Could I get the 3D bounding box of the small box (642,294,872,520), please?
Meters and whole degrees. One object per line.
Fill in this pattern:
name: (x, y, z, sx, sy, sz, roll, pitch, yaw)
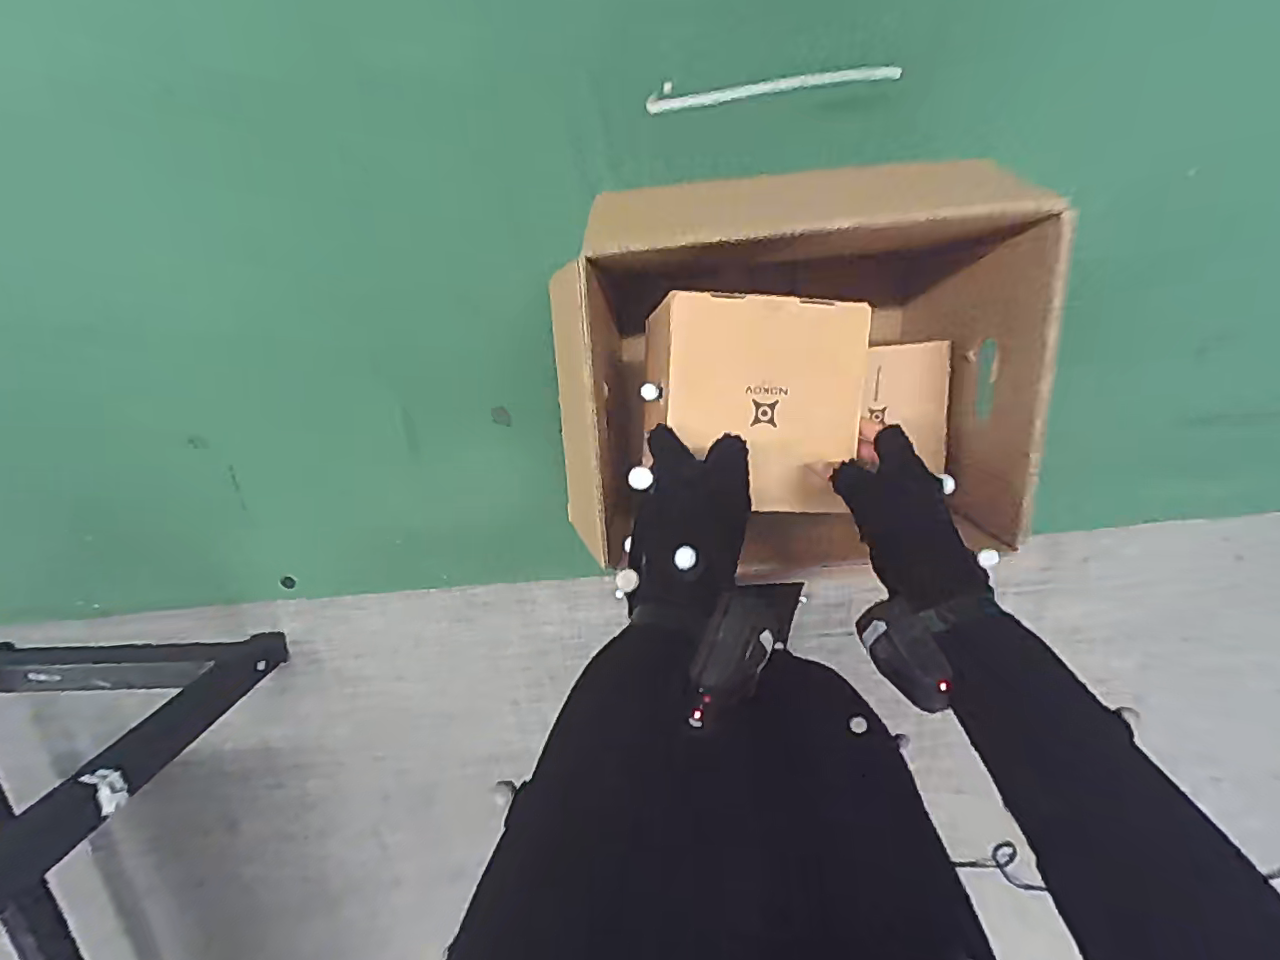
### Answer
small box: (0.093, -0.068, 0.513, 0.168, 0.176, 0.179, 2, 99, -5)
